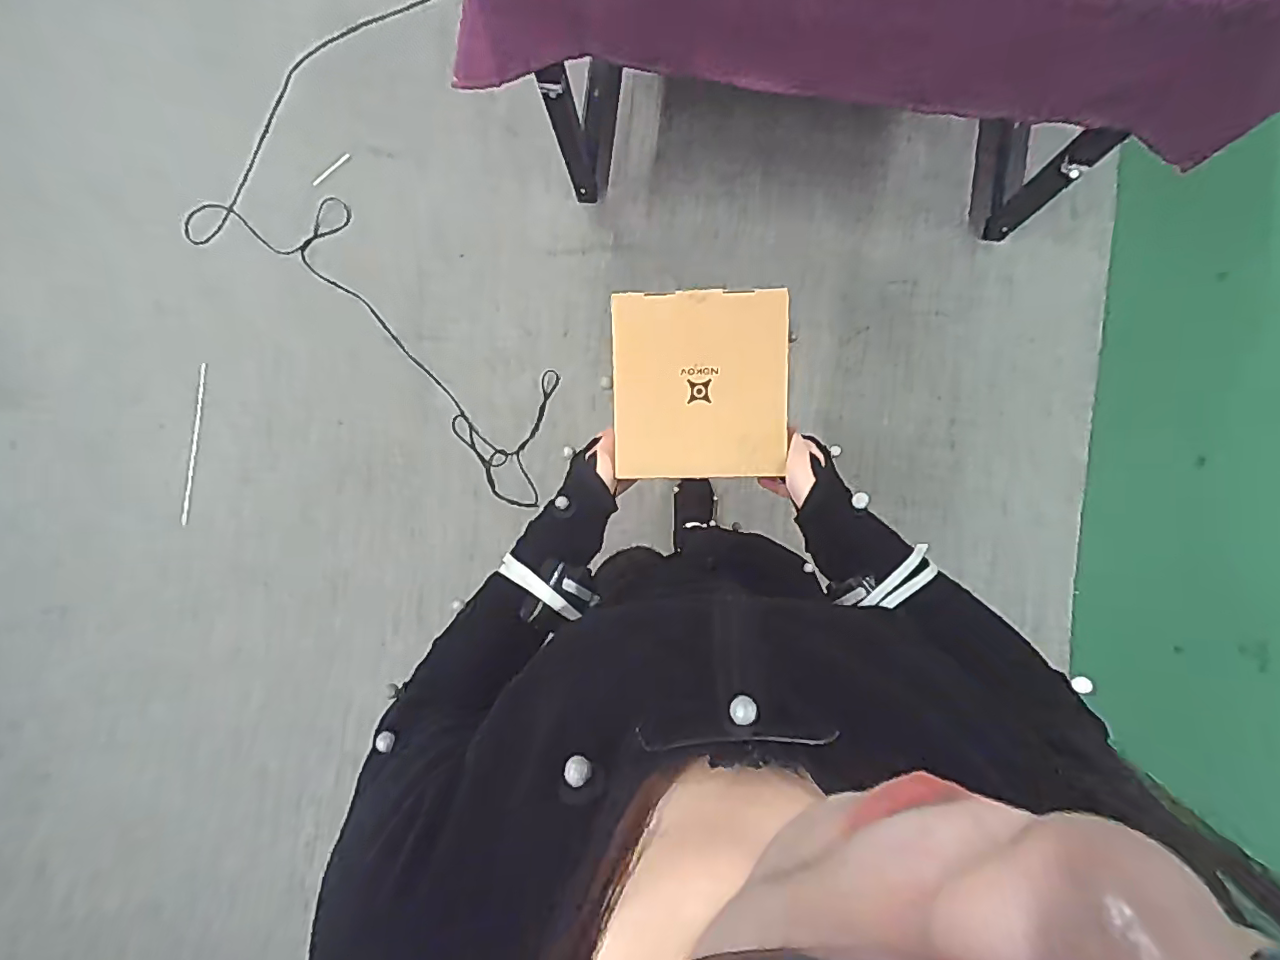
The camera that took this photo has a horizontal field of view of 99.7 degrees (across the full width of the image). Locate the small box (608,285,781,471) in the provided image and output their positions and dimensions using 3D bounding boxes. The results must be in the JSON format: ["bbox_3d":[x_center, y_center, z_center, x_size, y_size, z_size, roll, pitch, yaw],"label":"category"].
[{"bbox_3d":[0.057,-0.107,0.600,0.168,0.176,0.179,-1,97,3],"label":"small box"}]
